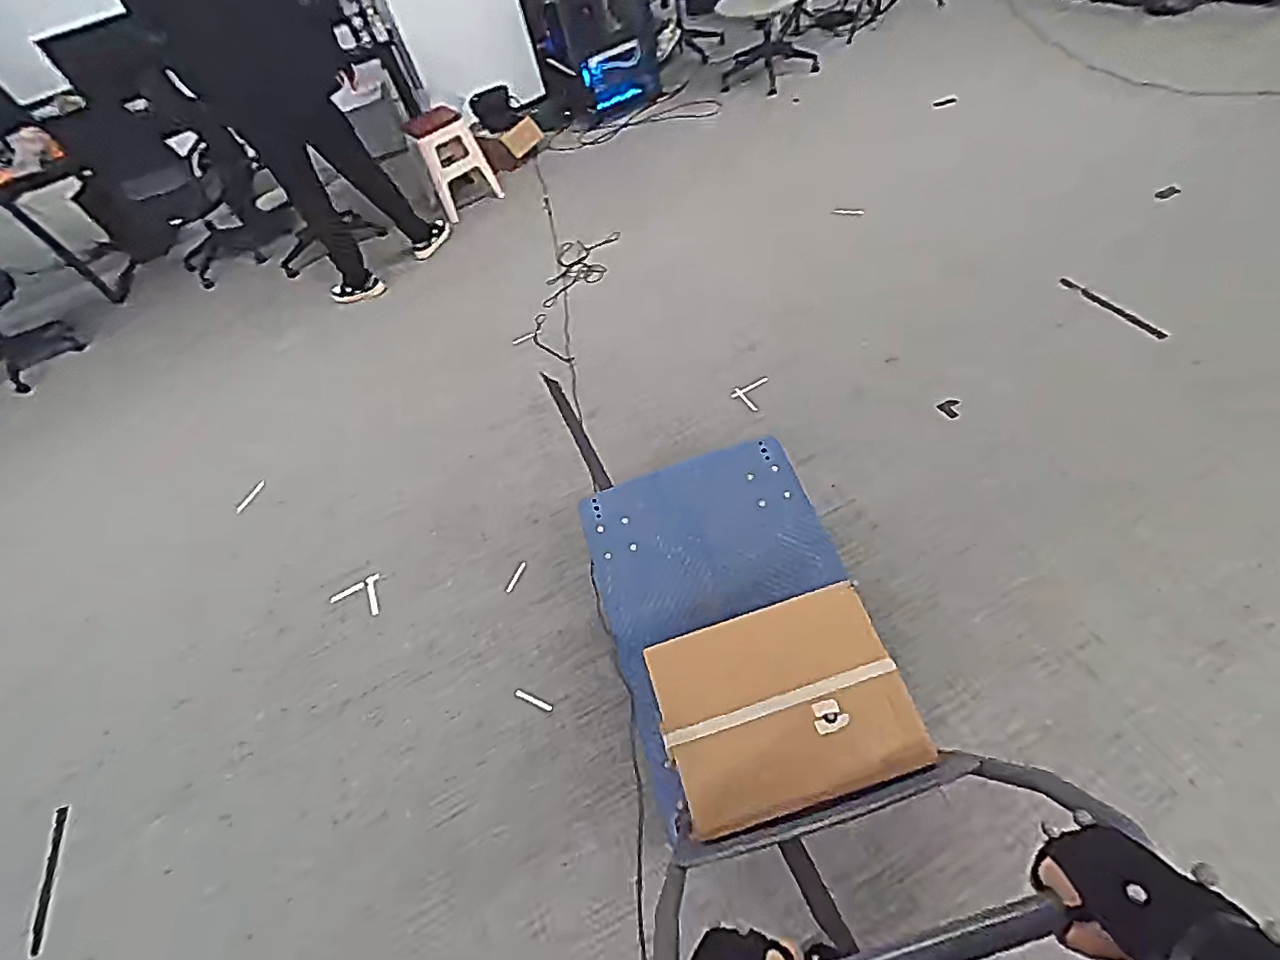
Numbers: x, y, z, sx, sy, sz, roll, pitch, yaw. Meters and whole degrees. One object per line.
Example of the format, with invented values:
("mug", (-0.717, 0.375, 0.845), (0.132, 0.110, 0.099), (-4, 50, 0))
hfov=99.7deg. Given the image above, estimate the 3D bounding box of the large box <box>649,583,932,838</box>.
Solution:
("large box", (0.265, 0.451, 1.070), (0.408, 0.320, 0.320), (-19, 63, -1))
